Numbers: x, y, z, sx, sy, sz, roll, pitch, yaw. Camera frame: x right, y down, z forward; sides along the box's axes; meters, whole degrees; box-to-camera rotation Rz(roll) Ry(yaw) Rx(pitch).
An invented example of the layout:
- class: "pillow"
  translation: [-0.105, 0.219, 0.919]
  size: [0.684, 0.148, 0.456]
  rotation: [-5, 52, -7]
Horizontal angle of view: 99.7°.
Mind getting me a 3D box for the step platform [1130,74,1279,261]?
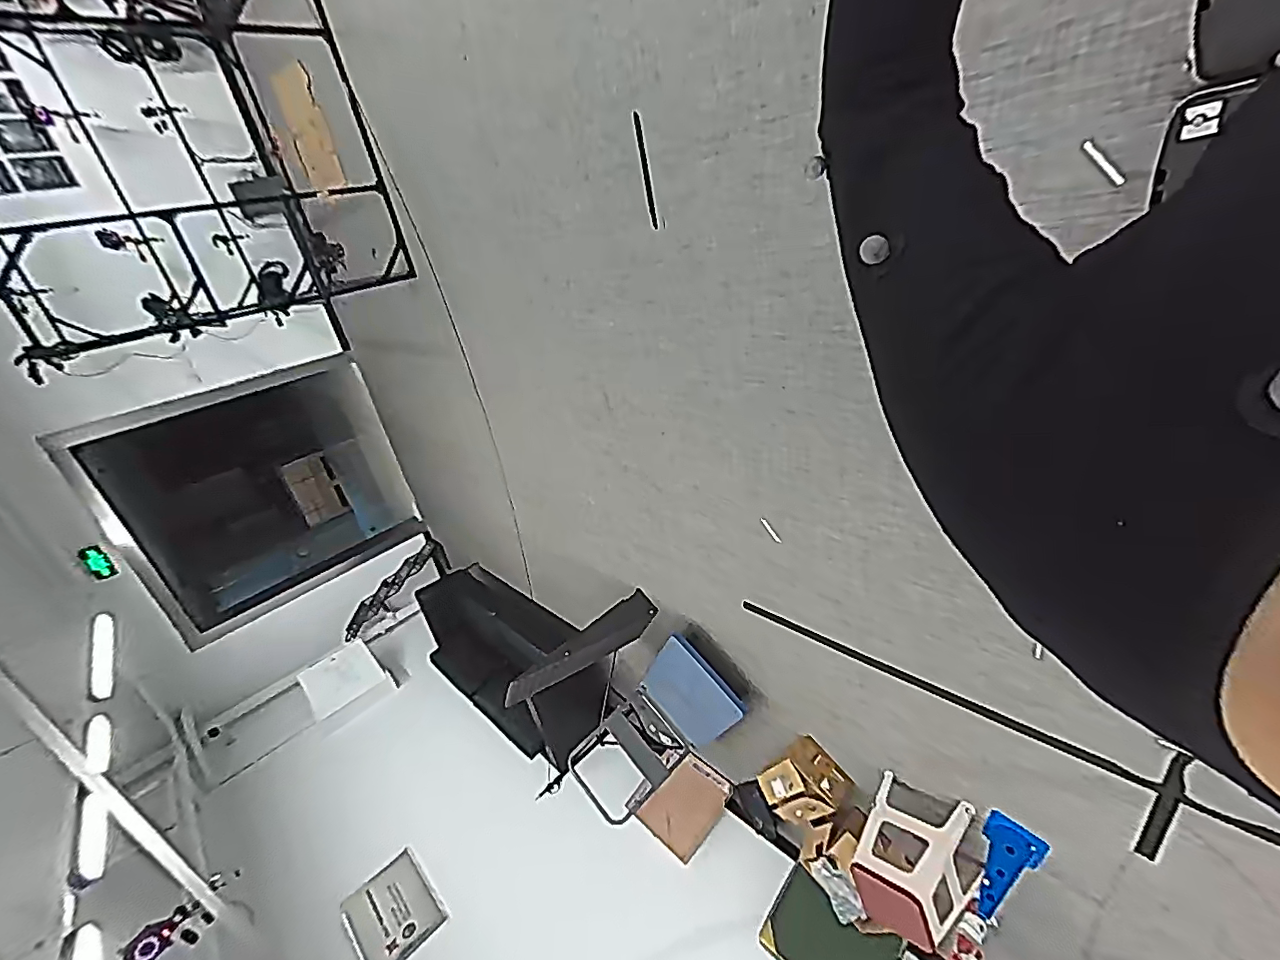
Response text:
- class: "step platform"
  translation: [1.232, -0.533, 0.848]
  size: [0.684, 0.204, 0.286]
  rotation: [15, 126, 47]
